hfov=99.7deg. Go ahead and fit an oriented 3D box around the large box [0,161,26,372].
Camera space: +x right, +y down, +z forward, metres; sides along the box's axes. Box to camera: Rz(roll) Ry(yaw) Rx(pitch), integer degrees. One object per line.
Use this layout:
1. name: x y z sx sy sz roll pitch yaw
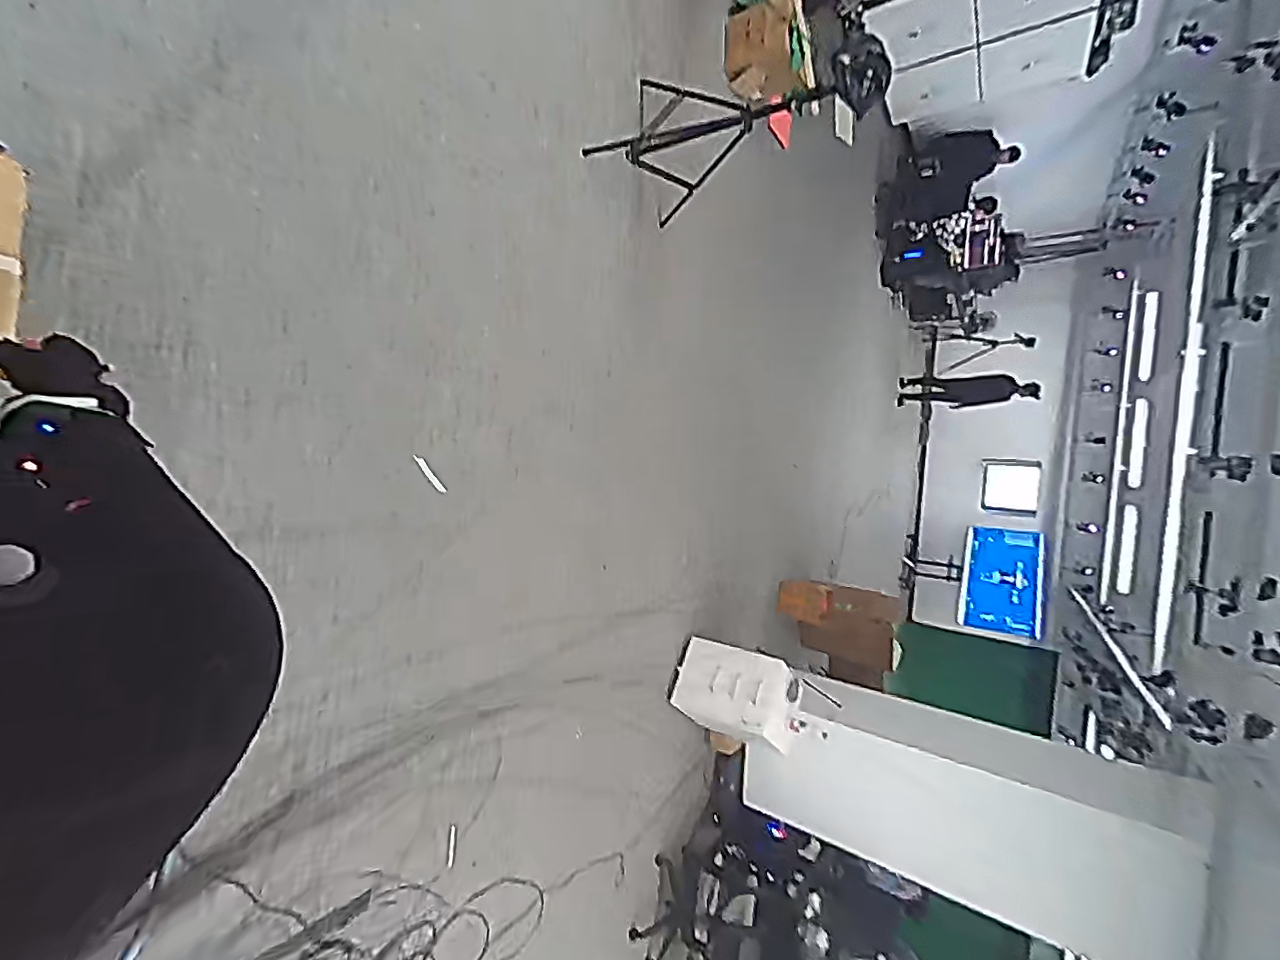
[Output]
1. large box: -1.167 -0.329 0.729 0.408 0.320 0.320 4 91 -56
